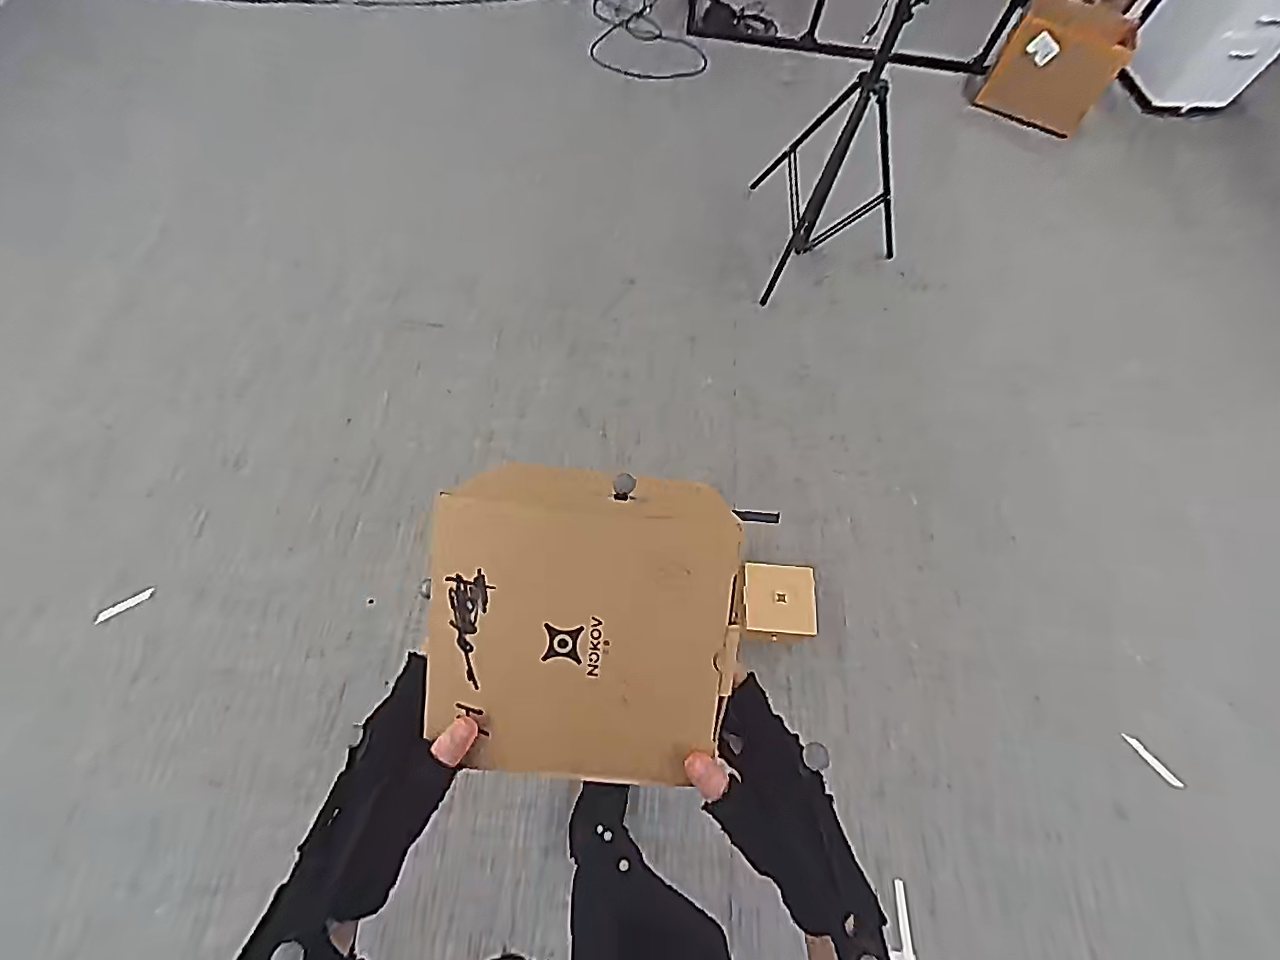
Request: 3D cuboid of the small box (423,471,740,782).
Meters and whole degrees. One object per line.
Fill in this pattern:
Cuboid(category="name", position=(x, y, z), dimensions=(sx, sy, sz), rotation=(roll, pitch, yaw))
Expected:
Cuboid(category="small box", position=(-0.038, 0.087, 0.398), dimensions=(0.179, 0.176, 0.168), rotation=(6, 96, -1))

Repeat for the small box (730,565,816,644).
Cuboid(category="small box", position=(0.329, 0.323, 1.381), dimensions=(0.179, 0.176, 0.168), rotation=(5, 67, -3))
